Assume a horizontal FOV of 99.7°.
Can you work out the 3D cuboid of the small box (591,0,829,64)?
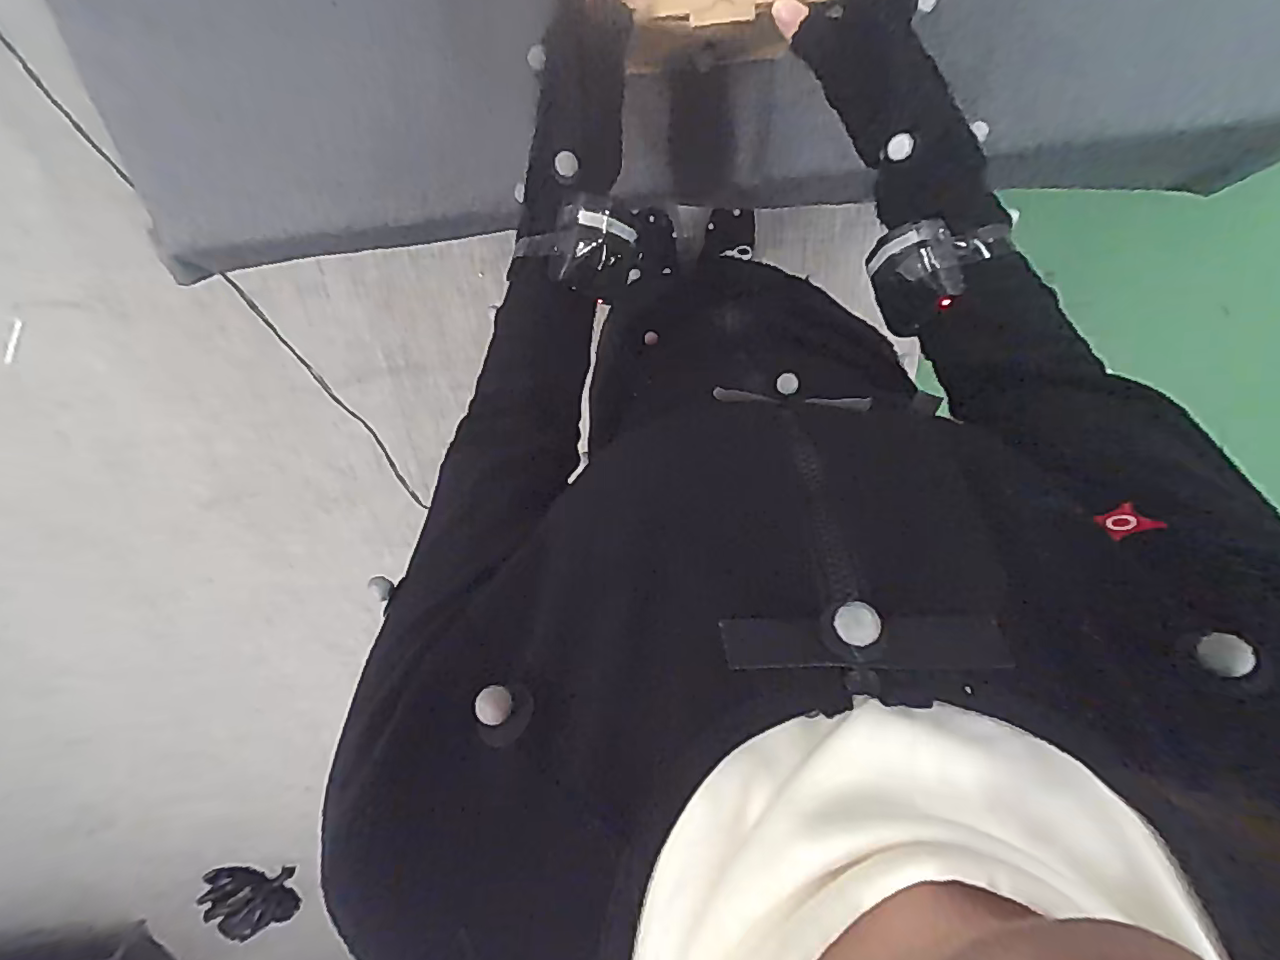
[{"bbox_3d":[0.042,-0.428,0.395,0.168,0.176,0.179,-5,119,2],"label":"small box"}]
